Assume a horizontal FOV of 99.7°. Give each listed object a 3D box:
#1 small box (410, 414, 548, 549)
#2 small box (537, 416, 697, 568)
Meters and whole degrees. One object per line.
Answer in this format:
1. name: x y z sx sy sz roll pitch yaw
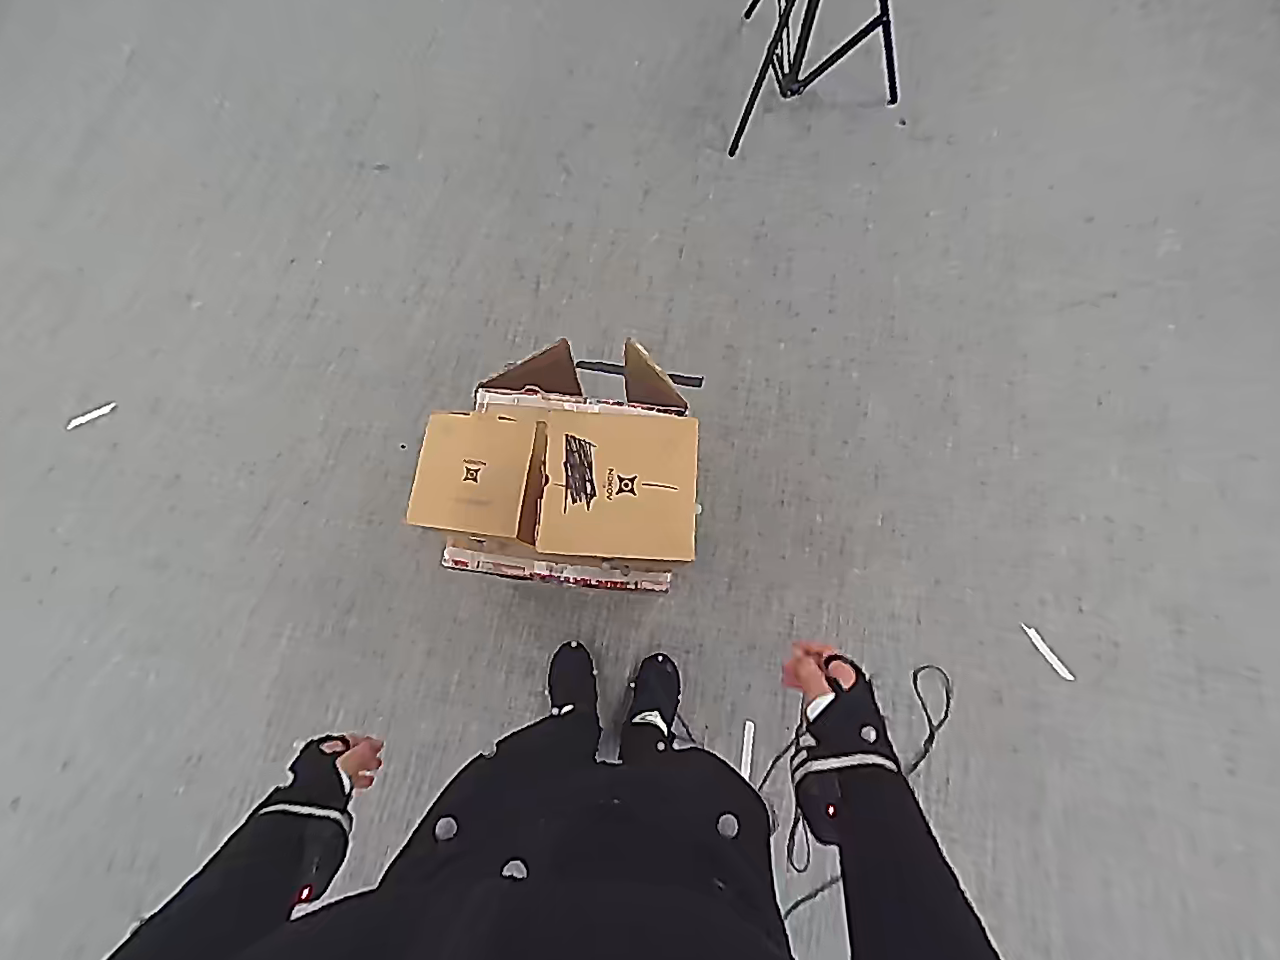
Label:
1. small box: -0.238 0.009 0.869 0.168 0.176 0.179 6 79 4
2. small box: -0.023 0.024 0.695 0.179 0.176 0.168 3 79 0
